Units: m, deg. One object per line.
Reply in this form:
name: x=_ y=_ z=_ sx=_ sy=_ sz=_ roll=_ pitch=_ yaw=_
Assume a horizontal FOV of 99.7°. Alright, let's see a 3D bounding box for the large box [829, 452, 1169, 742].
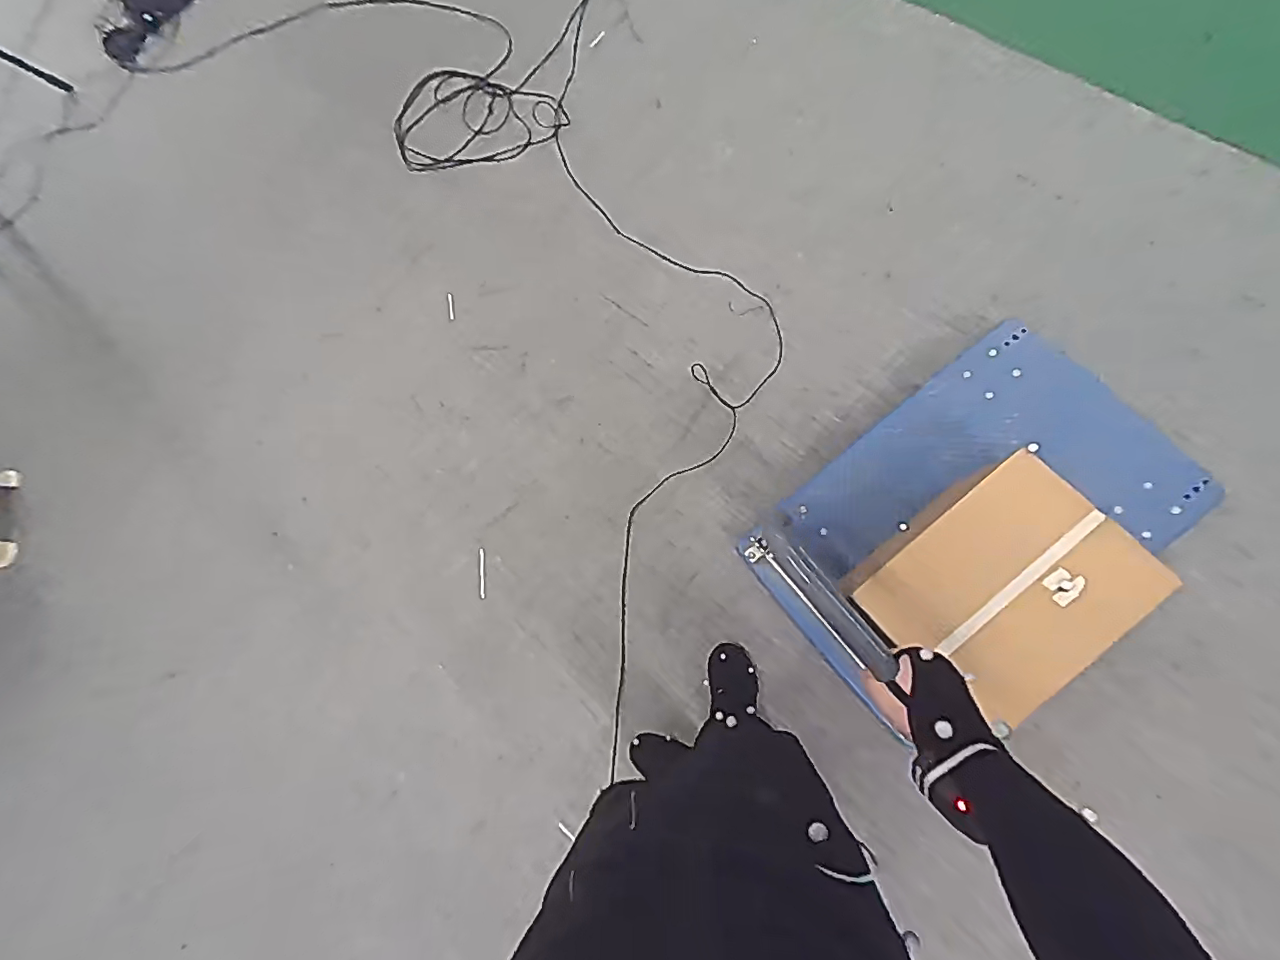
large box: x=0.644 y=0.220 z=1.058 sx=0.408 sy=0.320 sz=0.320 roll=-41 pitch=75 yaw=0
